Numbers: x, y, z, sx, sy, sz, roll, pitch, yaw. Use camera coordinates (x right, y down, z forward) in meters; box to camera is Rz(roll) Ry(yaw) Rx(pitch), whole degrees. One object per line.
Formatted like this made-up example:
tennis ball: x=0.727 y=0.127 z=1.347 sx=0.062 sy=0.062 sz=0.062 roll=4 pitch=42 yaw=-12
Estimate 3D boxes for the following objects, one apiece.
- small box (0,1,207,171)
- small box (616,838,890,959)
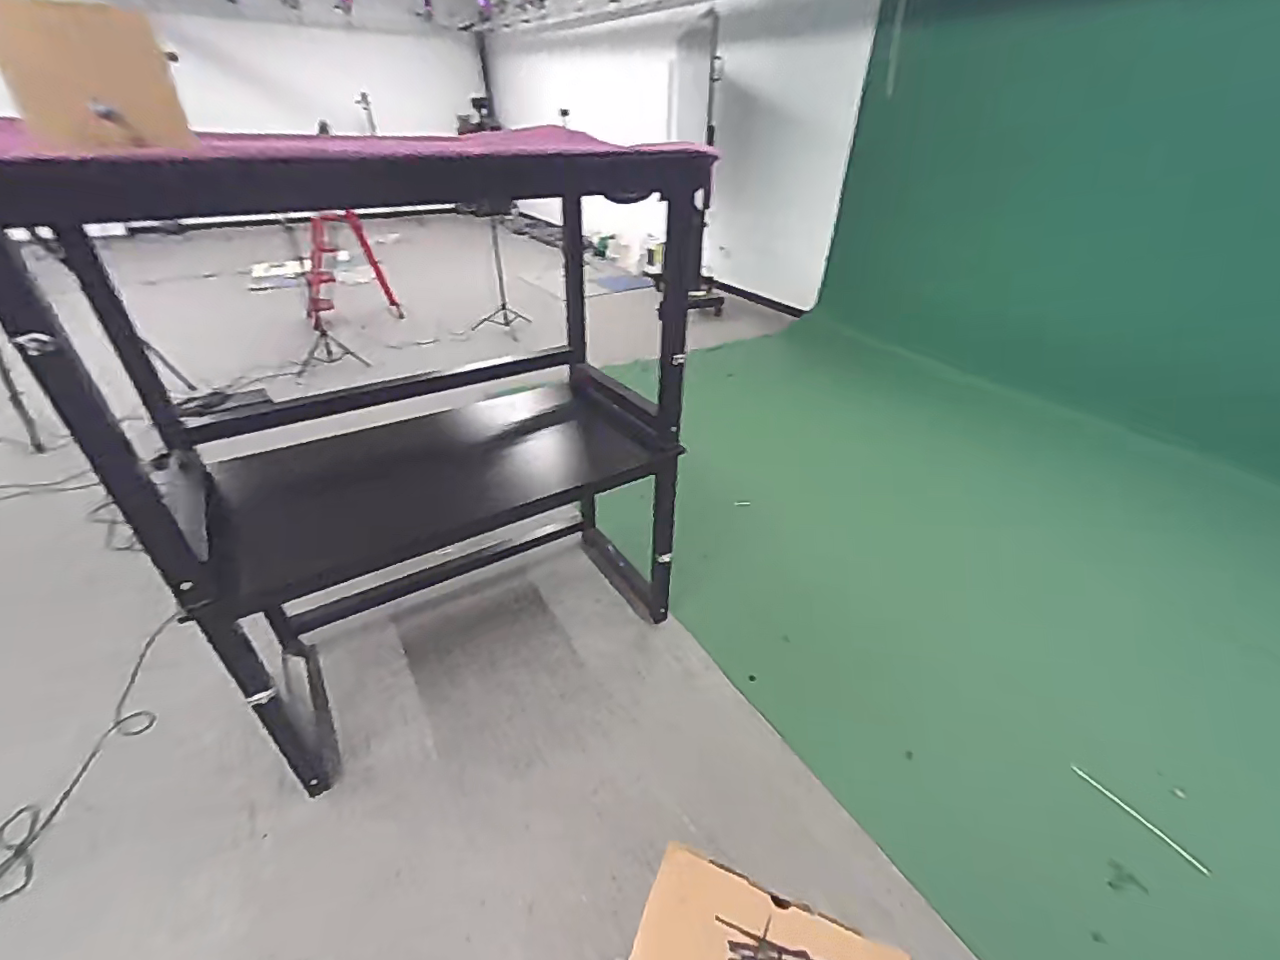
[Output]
small box: x=-0.731 y=-0.529 z=0.745 sx=0.168 sy=0.176 sz=0.179 roll=-19 pitch=38 yaw=-27
small box: x=0.058 y=0.396 z=0.376 sx=0.168 sy=0.176 sz=0.179 roll=14 pitch=49 yaw=19
